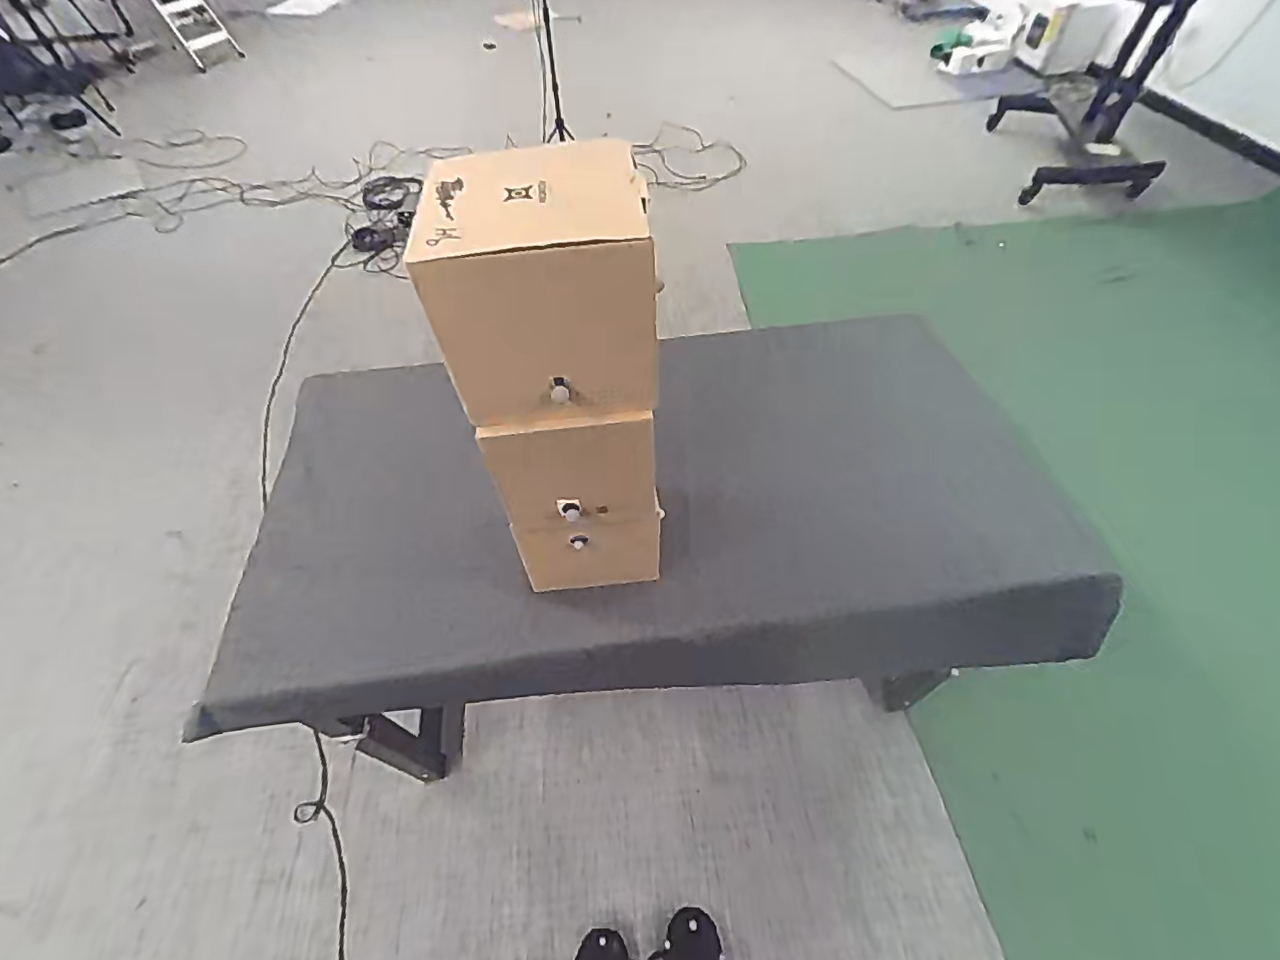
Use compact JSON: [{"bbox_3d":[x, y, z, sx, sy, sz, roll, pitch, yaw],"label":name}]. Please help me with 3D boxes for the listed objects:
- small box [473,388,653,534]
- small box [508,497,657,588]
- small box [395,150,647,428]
[{"bbox_3d":[-0.077,-0.062,0.611,0.168,0.176,0.179,-8,53,-1],"label":"small box"},{"bbox_3d":[-0.071,0.036,0.740,0.179,0.176,0.168,-5,52,-2],"label":"small box"},{"bbox_3d":[-0.087,-0.165,0.485,0.179,0.176,0.168,-6,52,-1],"label":"small box"}]
